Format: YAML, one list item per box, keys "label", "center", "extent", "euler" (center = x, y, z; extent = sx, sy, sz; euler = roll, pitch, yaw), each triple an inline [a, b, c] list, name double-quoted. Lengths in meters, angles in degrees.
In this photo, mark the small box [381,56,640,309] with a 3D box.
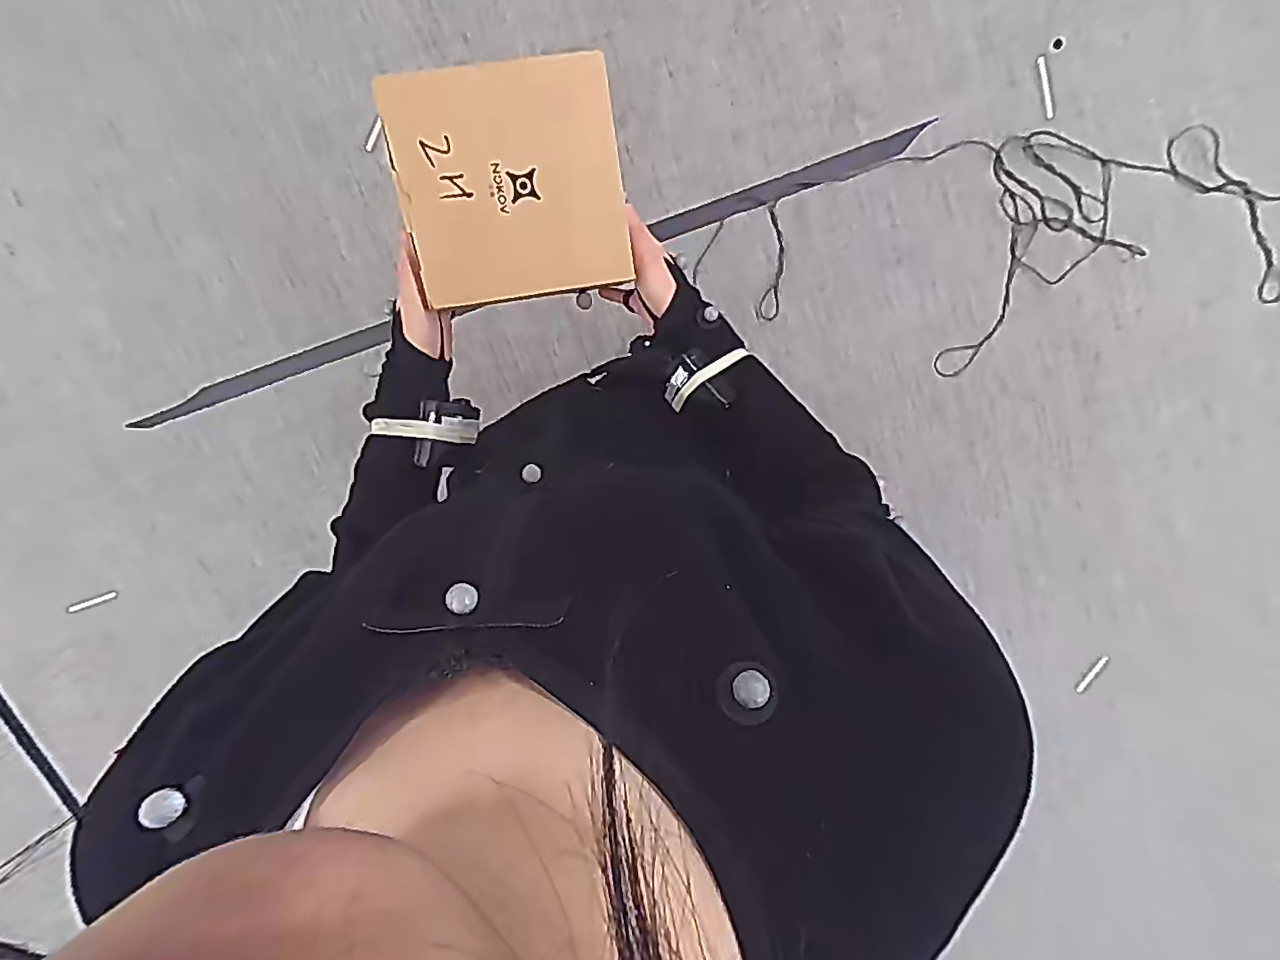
- label: "small box"
  center: [-0.106, -0.255, 0.499]
  extent: [0.179, 0.176, 0.168]
  euler: [-10, 108, -5]
